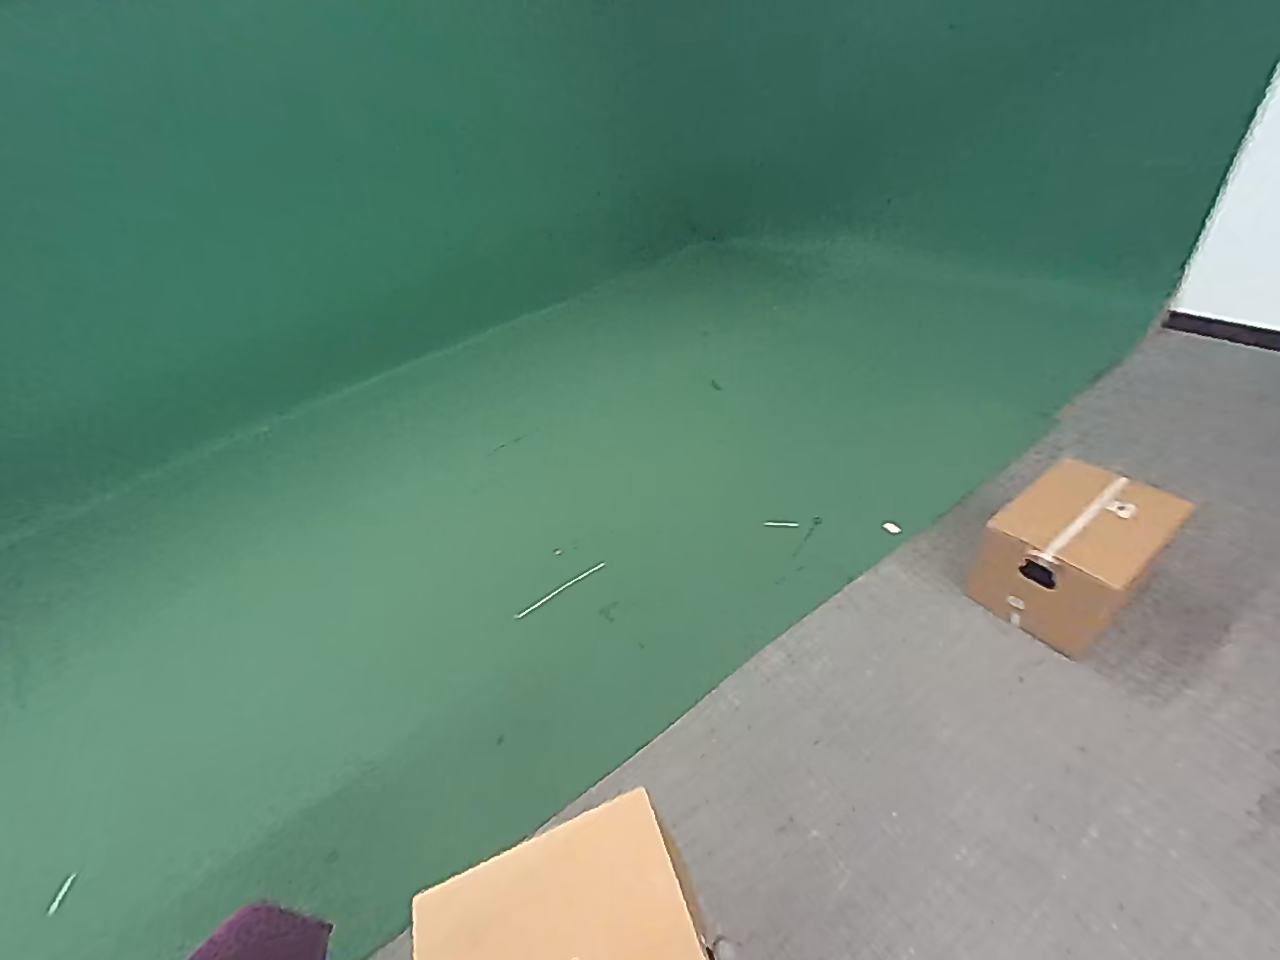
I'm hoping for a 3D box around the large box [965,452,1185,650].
[{"bbox_3d":[1.204,0.192,1.531,0.408,0.320,0.320,-31,43,-20],"label":"large box"}]
